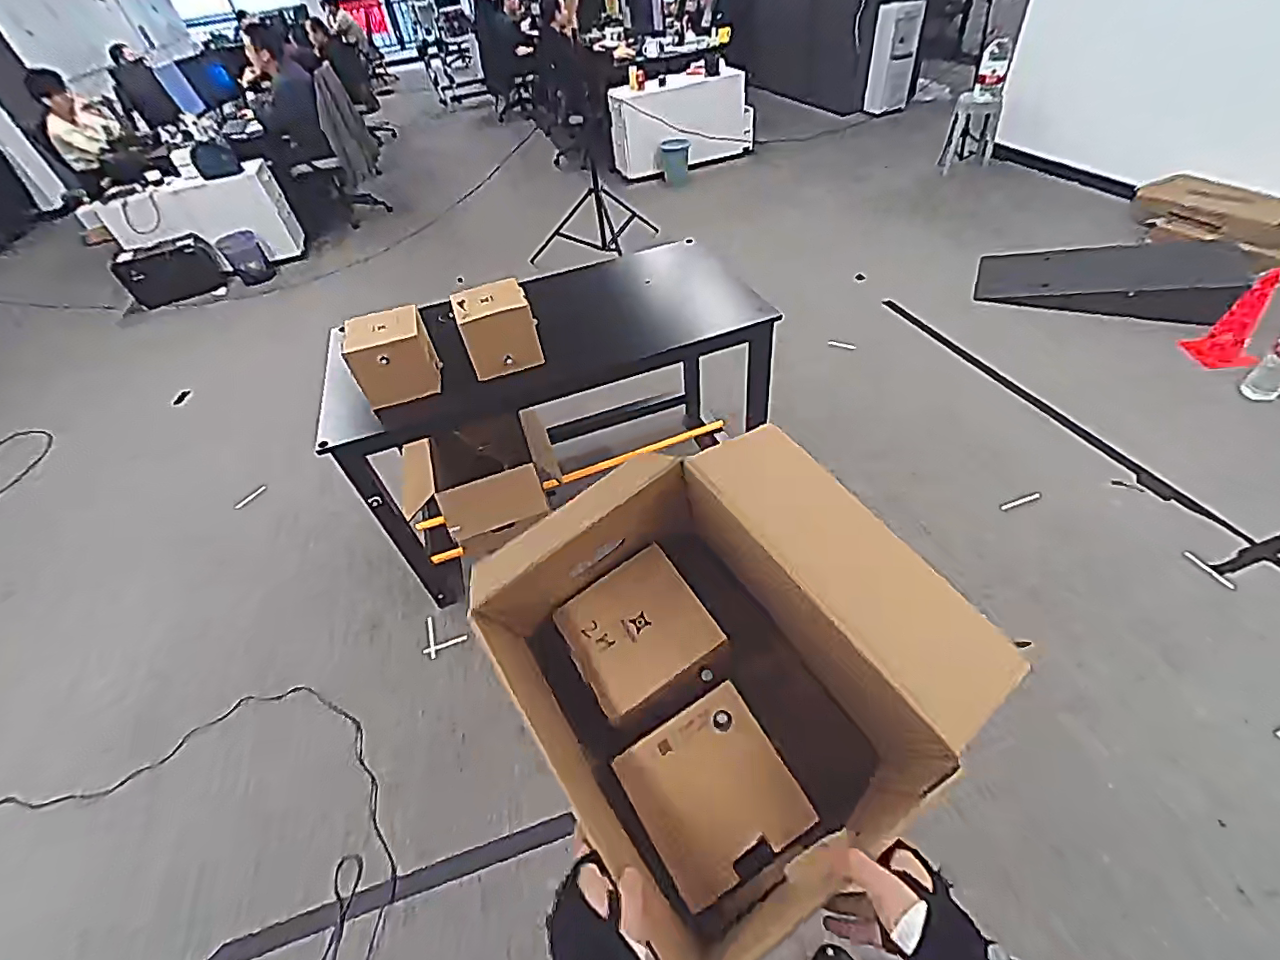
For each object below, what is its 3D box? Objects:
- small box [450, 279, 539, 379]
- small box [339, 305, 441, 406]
[{"bbox_3d":[-0.367,-0.384,1.384,0.179,0.176,0.168,-19,46,-11],"label":"small box"},{"bbox_3d":[-0.615,-0.306,1.344,0.179,0.176,0.168,-17,47,-10],"label":"small box"}]
